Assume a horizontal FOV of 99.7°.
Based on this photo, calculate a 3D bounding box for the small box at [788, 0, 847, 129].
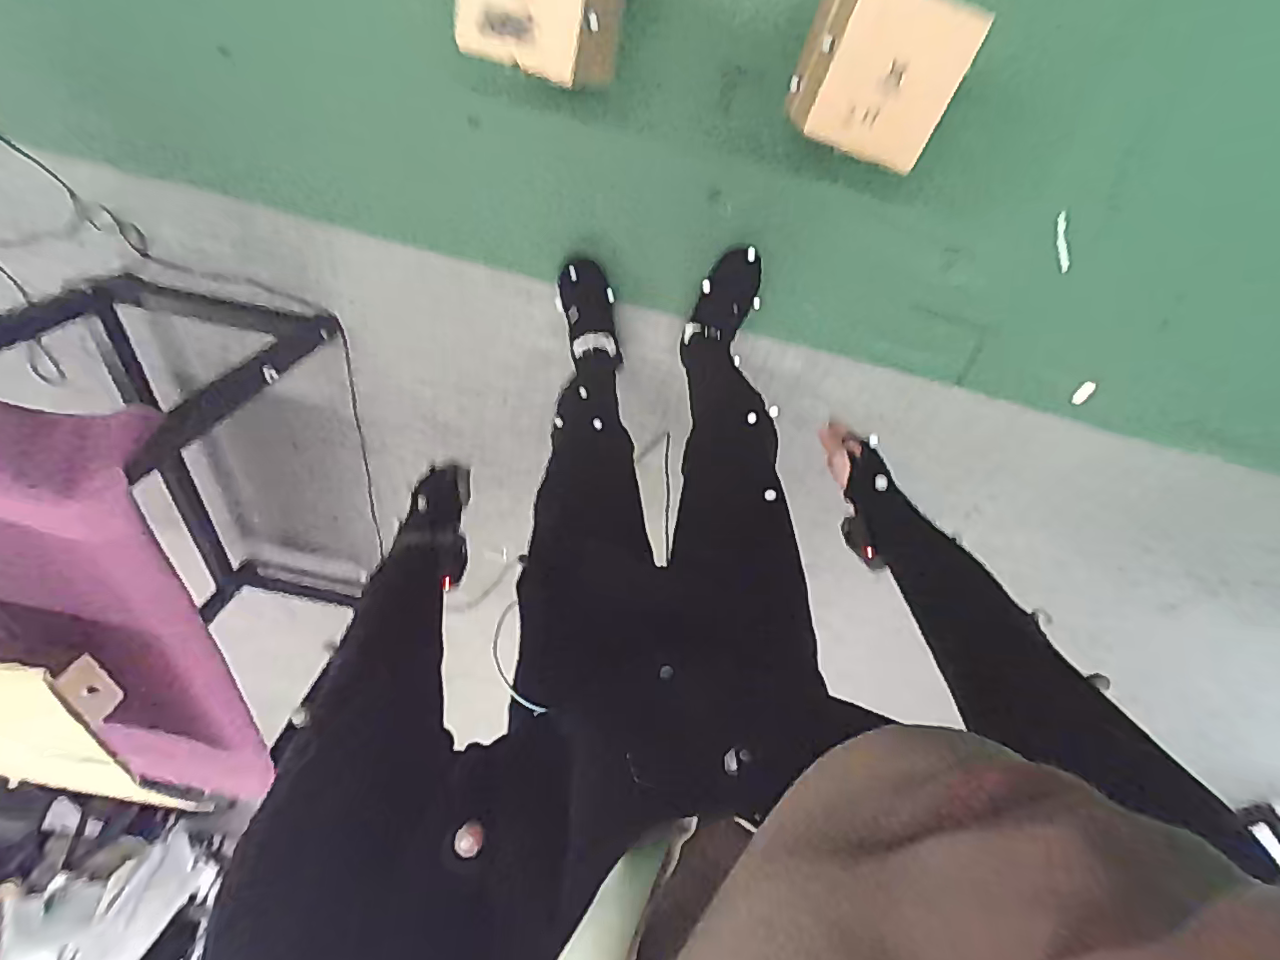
[{"bbox_3d":[0.356,-0.664,0.891,0.168,0.176,0.179,16,129,-4],"label":"small box"}]

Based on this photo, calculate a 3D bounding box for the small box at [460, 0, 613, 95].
[{"bbox_3d":[-0.136,-0.670,0.757,0.168,0.176,0.179,17,127,-3],"label":"small box"}]

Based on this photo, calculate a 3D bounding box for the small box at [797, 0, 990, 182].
[{"bbox_3d":[0.337,-0.558,0.766,0.168,0.176,0.179,18,129,-5],"label":"small box"}]
